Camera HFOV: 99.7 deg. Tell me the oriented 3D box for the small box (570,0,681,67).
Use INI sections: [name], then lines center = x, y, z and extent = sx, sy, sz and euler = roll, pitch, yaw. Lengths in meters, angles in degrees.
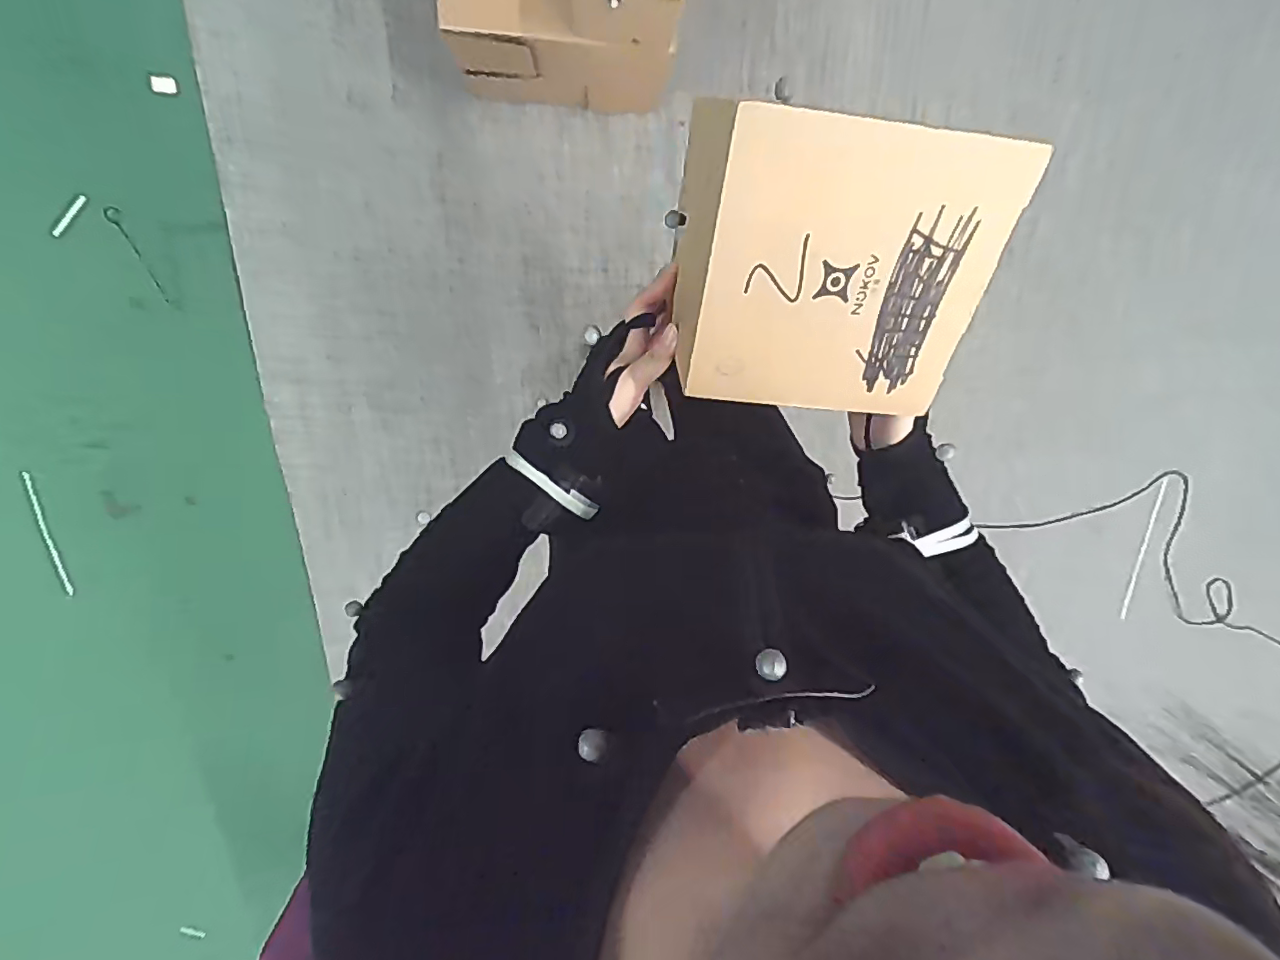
[small box]
center = -0.021, -0.787, 0.834
extent = 0.168, 0.176, 0.179
euler = 4, 105, -5
